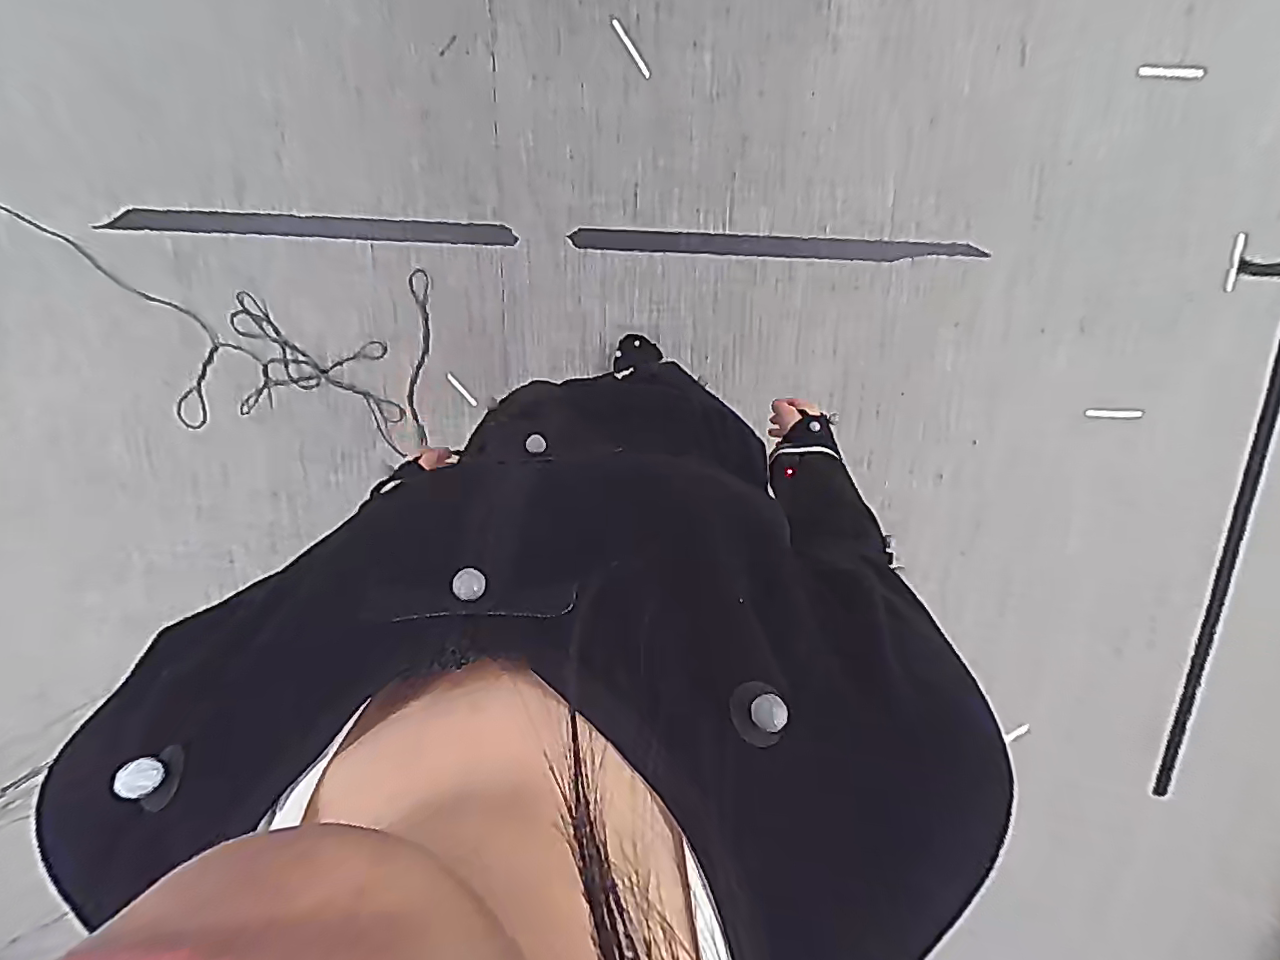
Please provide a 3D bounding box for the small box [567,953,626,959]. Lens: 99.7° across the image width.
[{"bbox_3d":[-0.076,1.067,1.044,0.168,0.176,0.179,6,103,-1],"label":"small box"}]
